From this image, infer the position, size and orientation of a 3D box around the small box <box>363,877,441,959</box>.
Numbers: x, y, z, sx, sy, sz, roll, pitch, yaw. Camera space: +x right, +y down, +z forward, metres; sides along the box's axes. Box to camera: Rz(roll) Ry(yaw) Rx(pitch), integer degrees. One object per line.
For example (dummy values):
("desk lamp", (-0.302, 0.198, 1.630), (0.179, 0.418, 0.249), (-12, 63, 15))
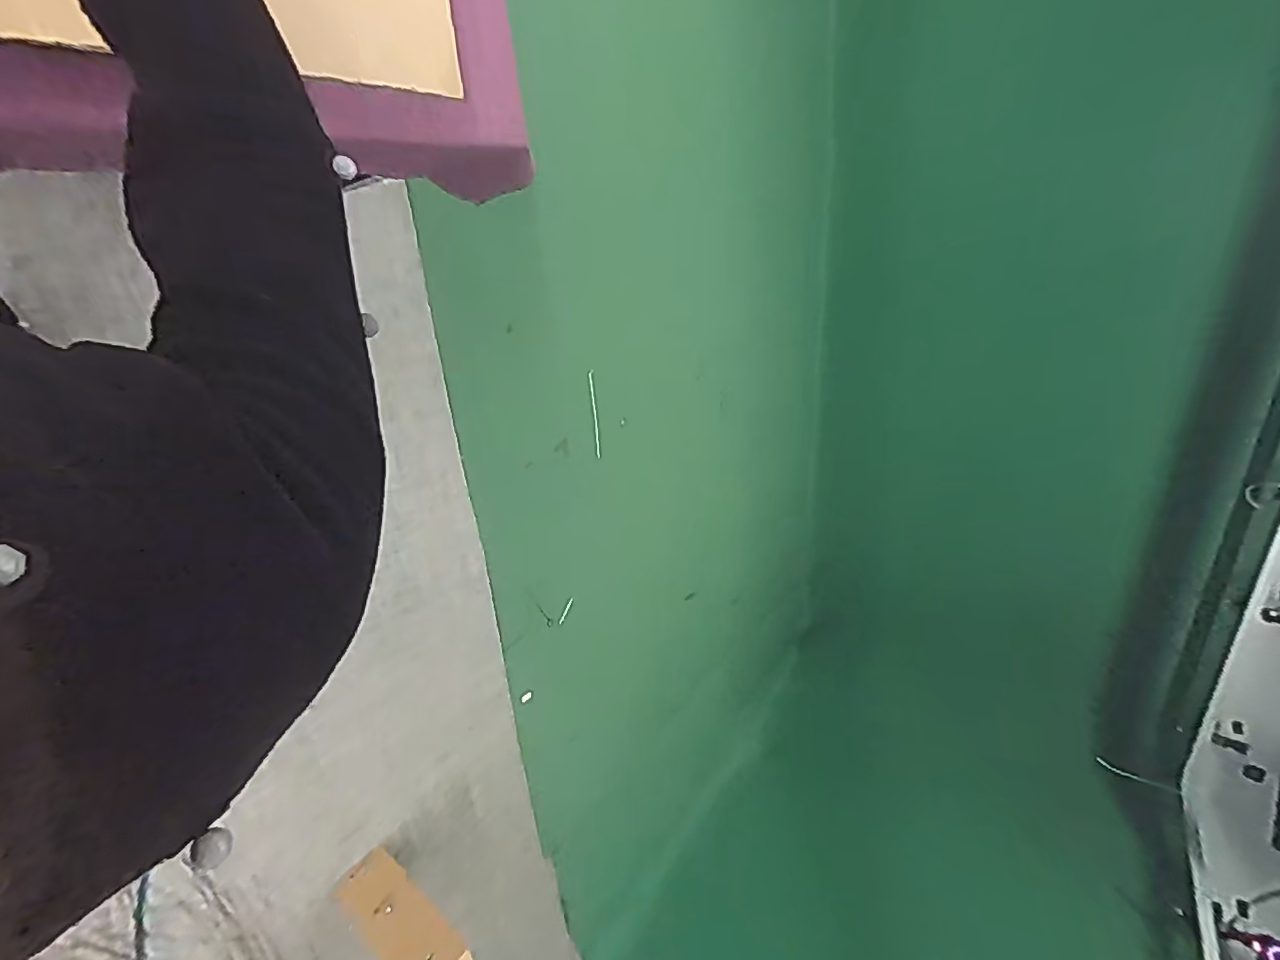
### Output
("small box", (-0.697, 1.354, 1.625), (0.168, 0.176, 0.179), (-33, 124, -44))

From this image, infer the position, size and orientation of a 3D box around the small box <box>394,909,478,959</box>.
("small box", (-0.573, 1.378, 1.518), (0.179, 0.176, 0.168), (-31, 123, -45))
